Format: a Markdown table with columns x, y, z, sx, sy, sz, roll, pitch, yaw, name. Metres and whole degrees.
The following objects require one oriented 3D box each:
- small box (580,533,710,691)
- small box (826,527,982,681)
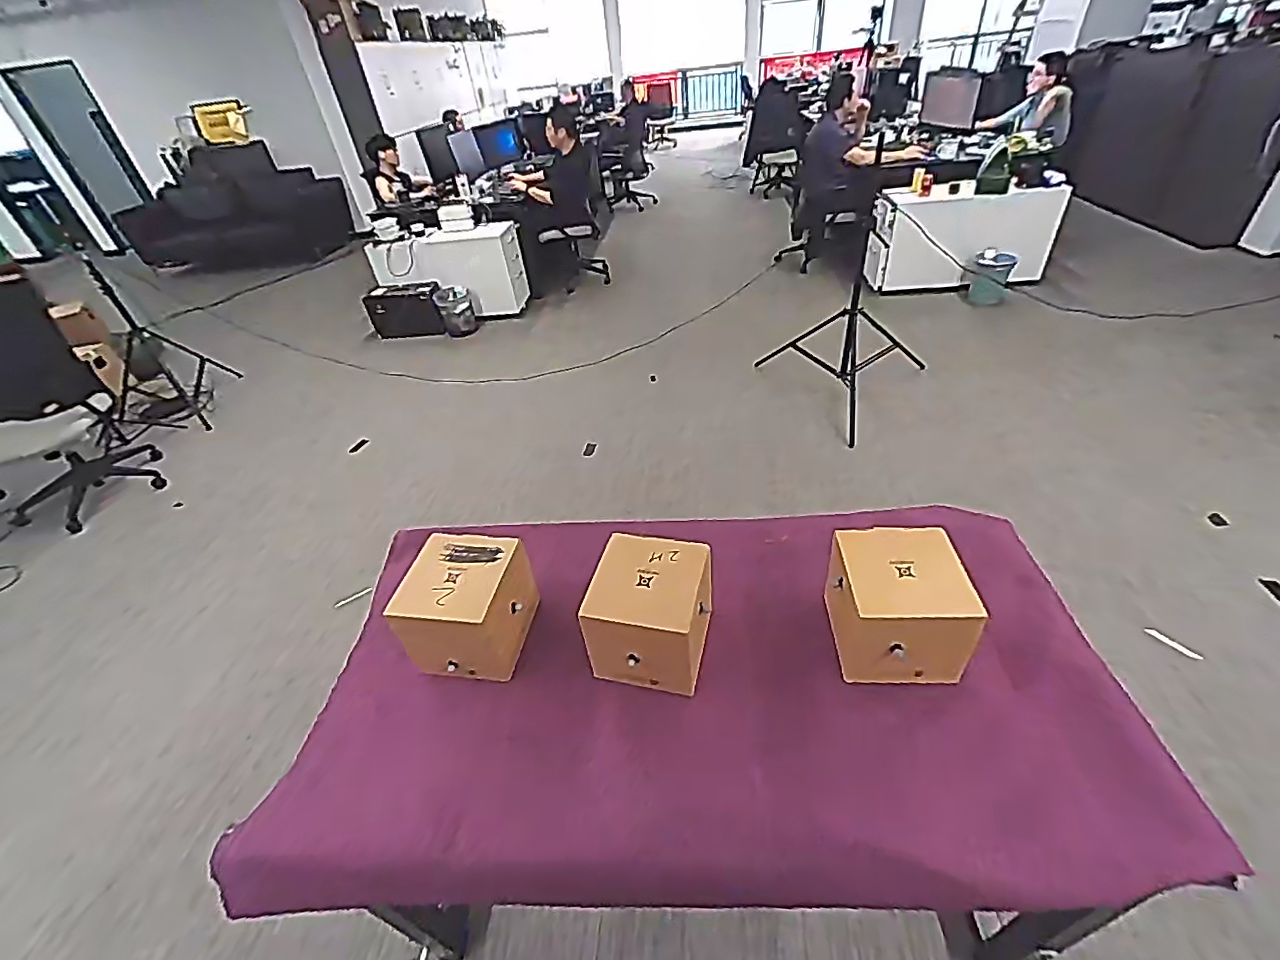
| x | y | z | sx | sy | sz | roll | pitch | yaw | name |
| --- | --- | --- | --- | --- | --- | --- | --- | --- | --- |
| 0.020 | 0.214 | 0.878 | 0.168 | 0.176 | 0.179 | 6 | 40 | 15 | small box |
| 0.396 | 0.196 | 0.844 | 0.168 | 0.176 | 0.179 | -2 | 38 | 8 | small box |
